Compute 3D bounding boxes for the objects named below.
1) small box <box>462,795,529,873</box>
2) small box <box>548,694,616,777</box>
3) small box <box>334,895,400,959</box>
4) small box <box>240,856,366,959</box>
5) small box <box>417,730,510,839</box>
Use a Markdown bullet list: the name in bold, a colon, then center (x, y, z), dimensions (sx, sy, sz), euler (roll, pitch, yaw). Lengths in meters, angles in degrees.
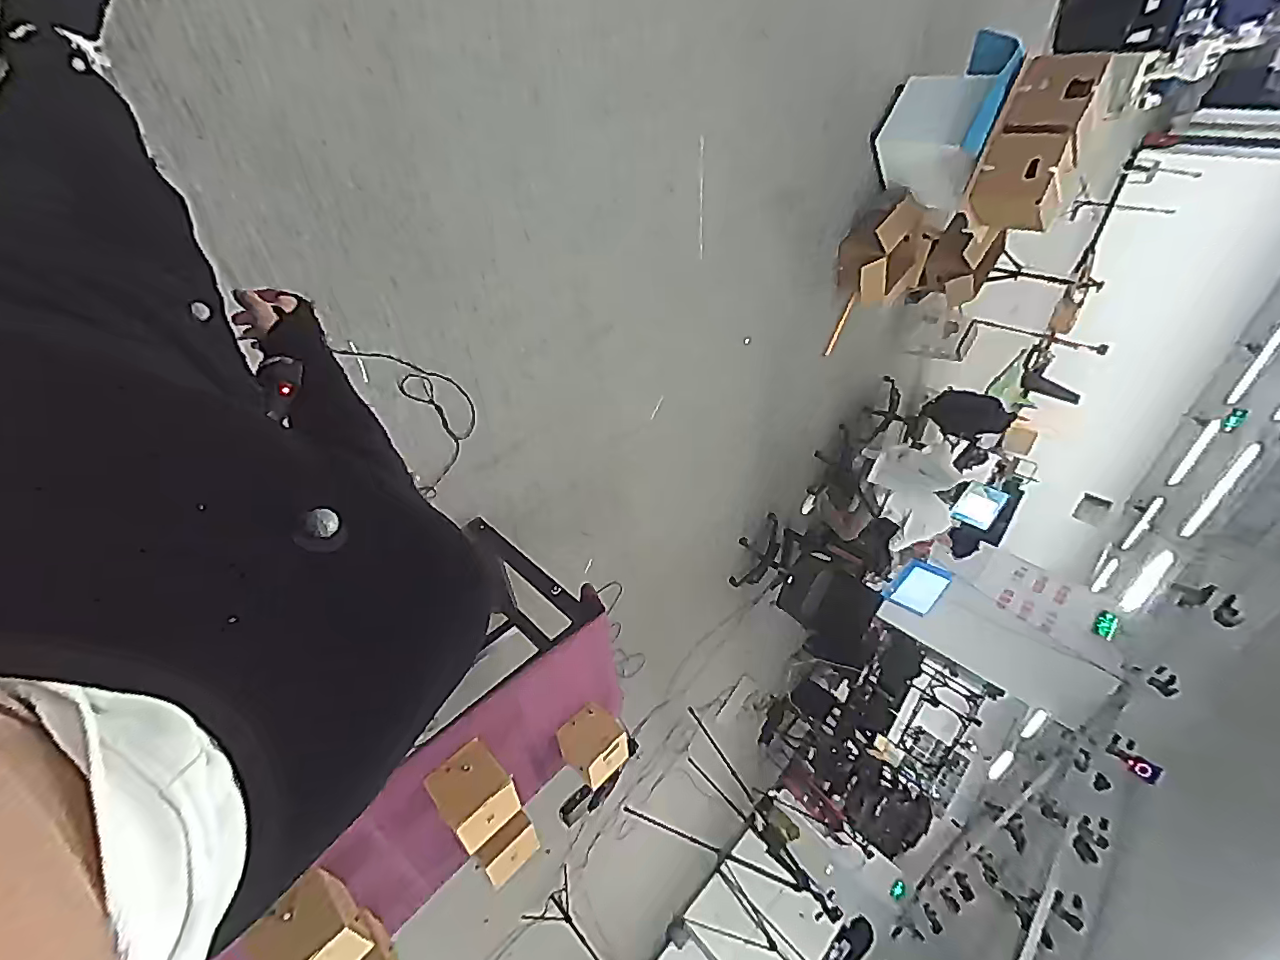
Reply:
- **small box**: center (-0.469, 1.060, 1.679), dimensions (0.168, 0.176, 0.179), euler (-32, 137, -35)
- **small box**: center (-0.202, 0.876, 1.873), dimensions (0.168, 0.176, 0.179), euler (-33, 138, -33)
- **small box**: center (-0.773, 1.254, 1.434), dimensions (0.168, 0.176, 0.179), euler (-34, 139, -34)
- **small box**: center (-0.772, 1.015, 1.243), dimensions (0.168, 0.176, 0.179), euler (-36, 140, -33)
- **small box**: center (-0.480, 0.825, 1.480), dimensions (0.168, 0.176, 0.179), euler (-32, 139, -33)
